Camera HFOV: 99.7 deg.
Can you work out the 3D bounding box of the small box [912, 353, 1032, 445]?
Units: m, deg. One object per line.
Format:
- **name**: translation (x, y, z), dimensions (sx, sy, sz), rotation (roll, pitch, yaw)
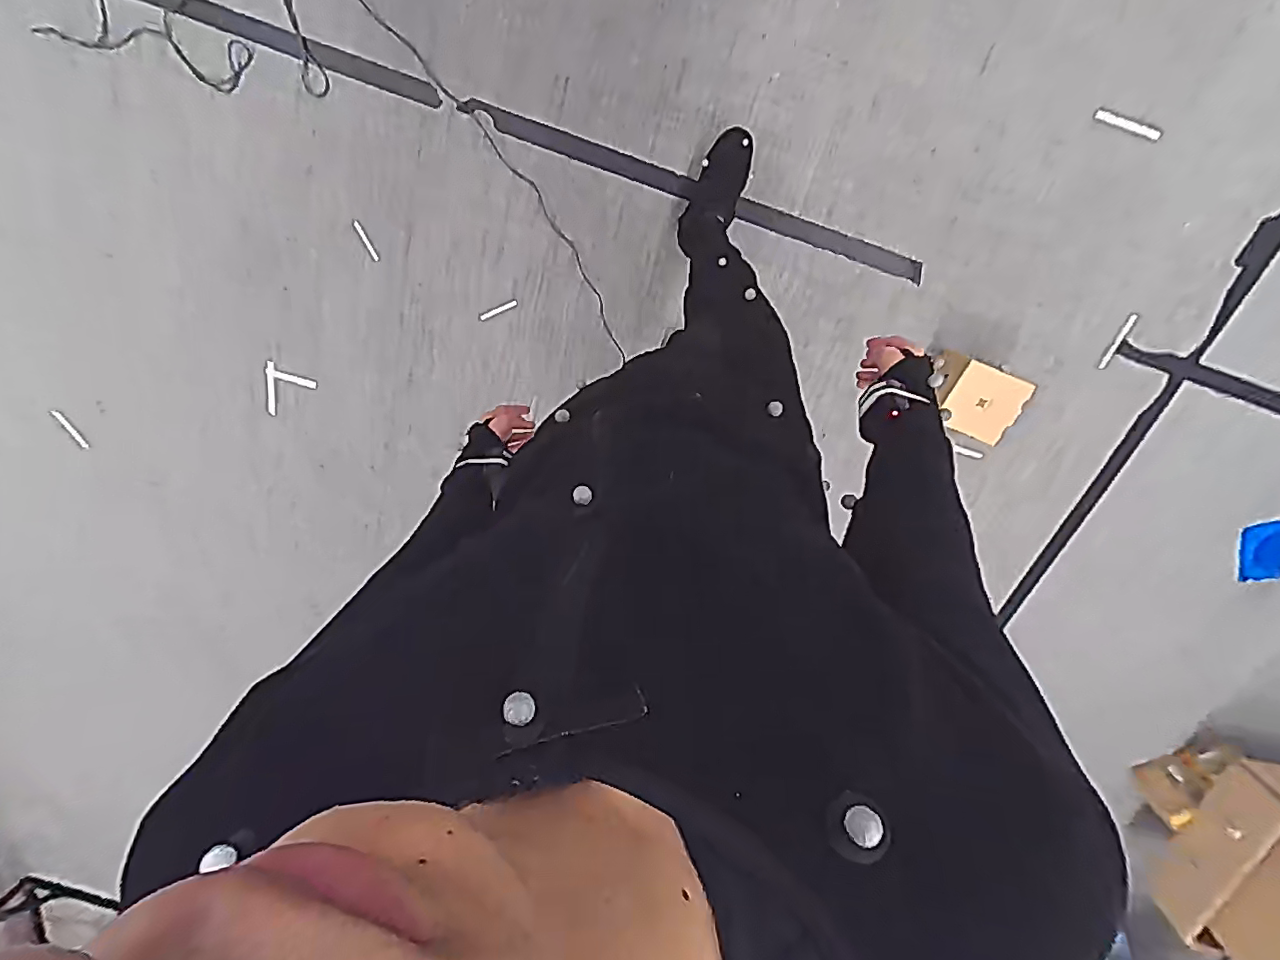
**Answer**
- **small box**: translation (0.847, -0.217, 1.403), dimensions (0.179, 0.176, 0.168), rotation (21, 114, -3)
